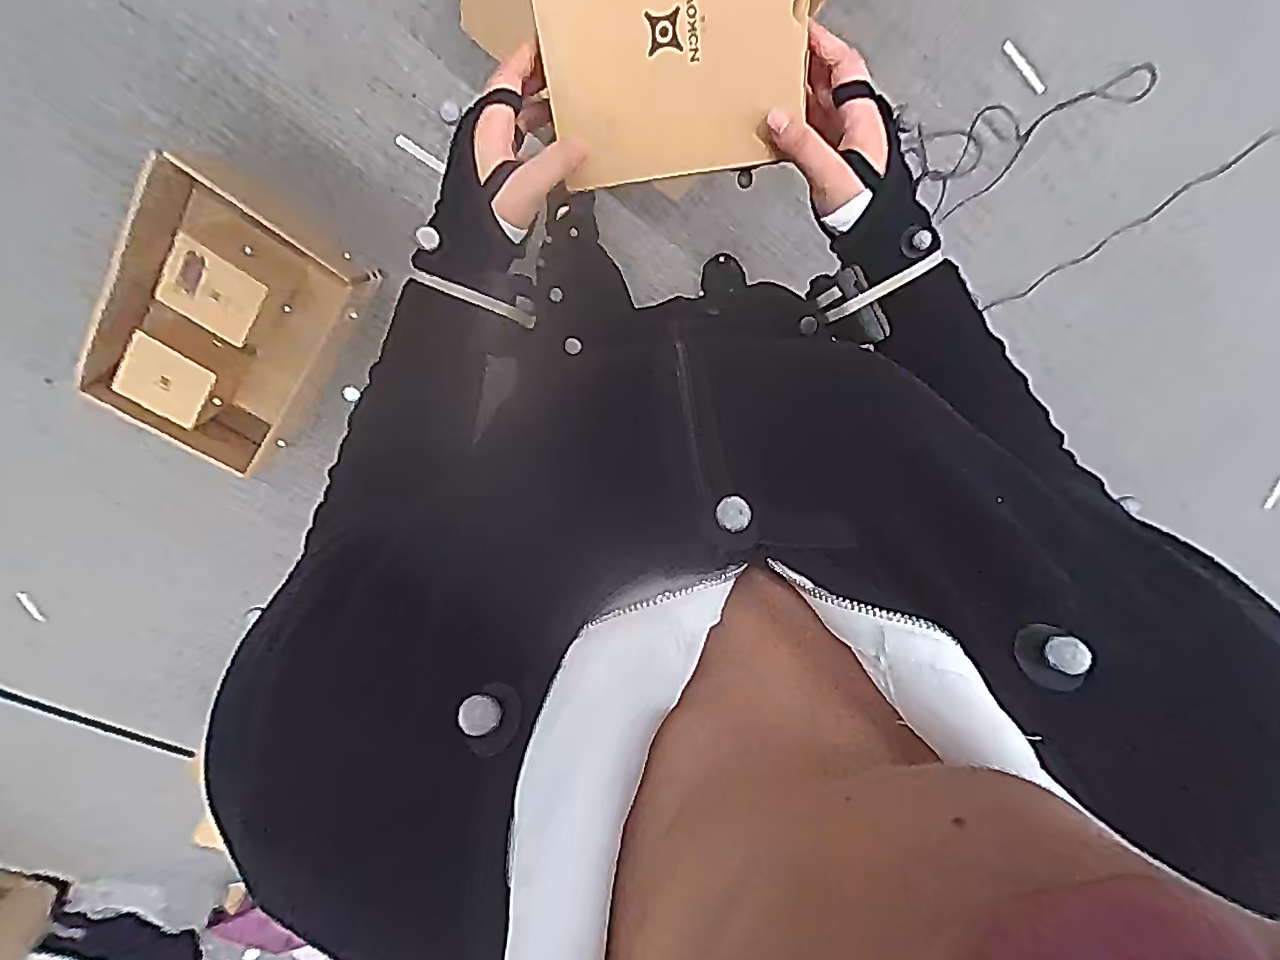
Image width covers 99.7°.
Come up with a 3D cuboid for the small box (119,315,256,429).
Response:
[{"bbox_3d":[-1.060,-0.260,1.281,0.168,0.176,0.179,34,111,-22],"label":"small box"}]

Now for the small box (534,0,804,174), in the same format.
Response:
[{"bbox_3d":[0.023,-0.341,0.421,0.179,0.176,0.168,-5,121,5],"label":"small box"}]
